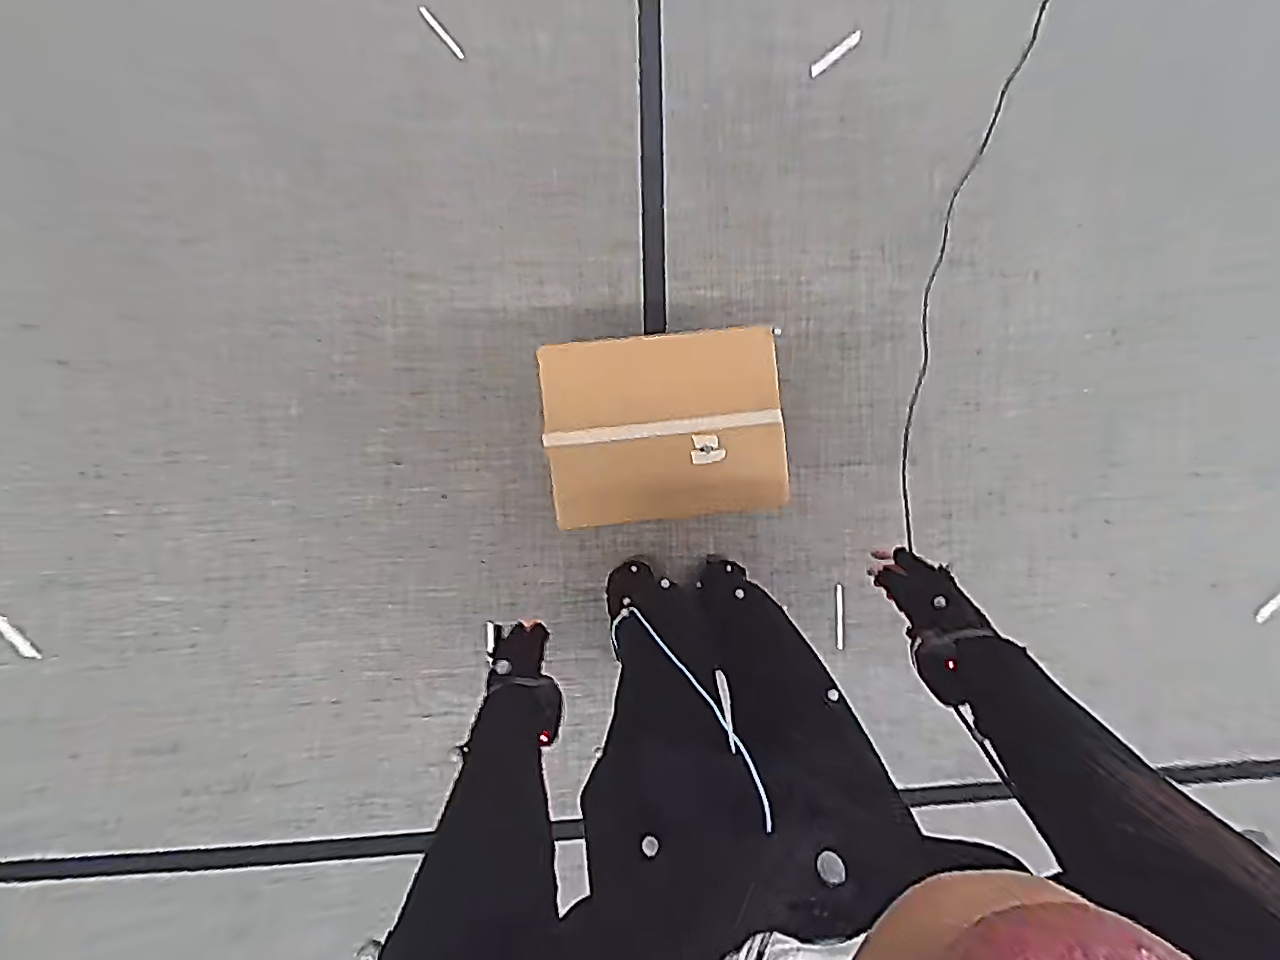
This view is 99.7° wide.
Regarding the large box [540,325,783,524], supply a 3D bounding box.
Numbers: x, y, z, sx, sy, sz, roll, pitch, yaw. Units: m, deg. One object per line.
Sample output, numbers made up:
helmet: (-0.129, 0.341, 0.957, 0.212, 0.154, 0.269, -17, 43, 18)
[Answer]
large box: (0.032, -0.100, 1.091, 0.408, 0.320, 0.320, -6, 92, -3)
